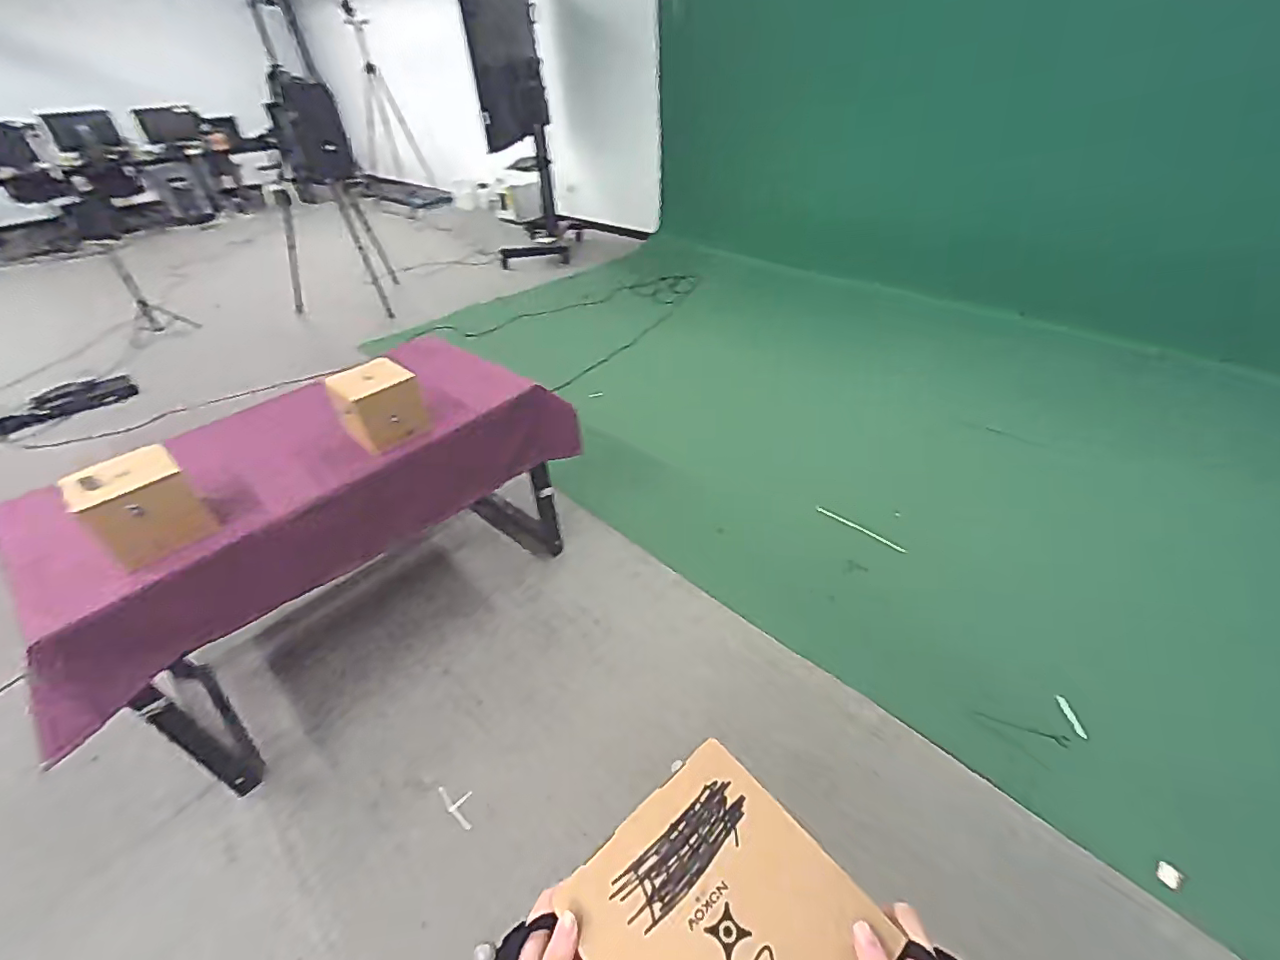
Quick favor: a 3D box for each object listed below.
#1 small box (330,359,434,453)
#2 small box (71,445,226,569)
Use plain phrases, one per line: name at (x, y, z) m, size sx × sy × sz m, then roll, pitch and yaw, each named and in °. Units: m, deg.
small box at (-0.679, -0.194, 1.438) m, size 0.179 × 0.176 × 0.168 m, roll 29°, pitch 48°, yaw 34°
small box at (-1.039, 0.057, 1.152) m, size 0.168 × 0.176 × 0.179 m, roll 28°, pitch 48°, yaw 34°
